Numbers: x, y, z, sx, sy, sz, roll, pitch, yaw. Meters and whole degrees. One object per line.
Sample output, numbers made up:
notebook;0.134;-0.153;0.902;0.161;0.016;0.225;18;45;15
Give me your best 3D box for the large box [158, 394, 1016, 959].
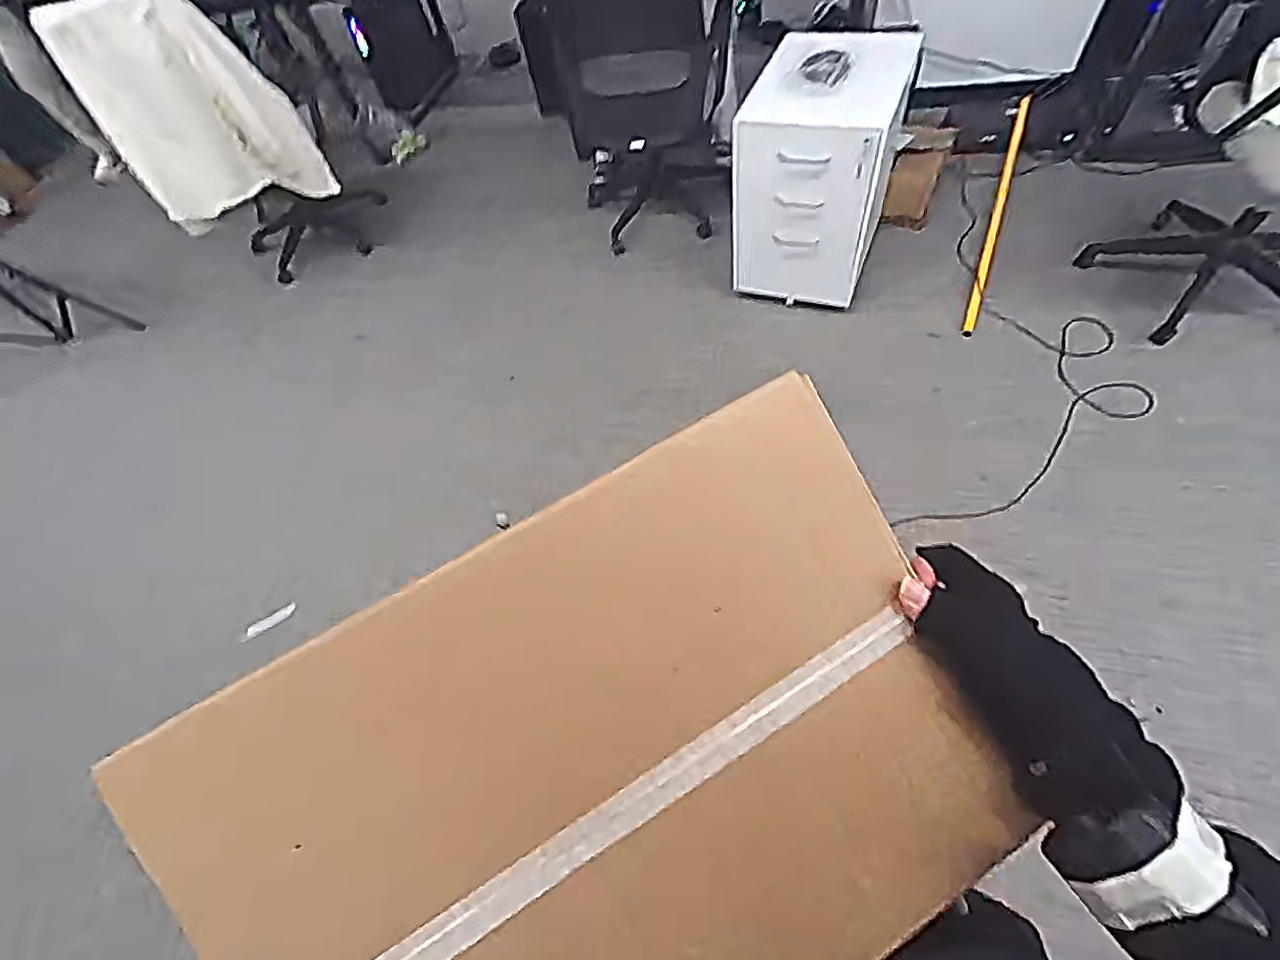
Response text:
large box;-0.022;0.179;0.452;0.408;0.320;0.320;-30;92;-9
